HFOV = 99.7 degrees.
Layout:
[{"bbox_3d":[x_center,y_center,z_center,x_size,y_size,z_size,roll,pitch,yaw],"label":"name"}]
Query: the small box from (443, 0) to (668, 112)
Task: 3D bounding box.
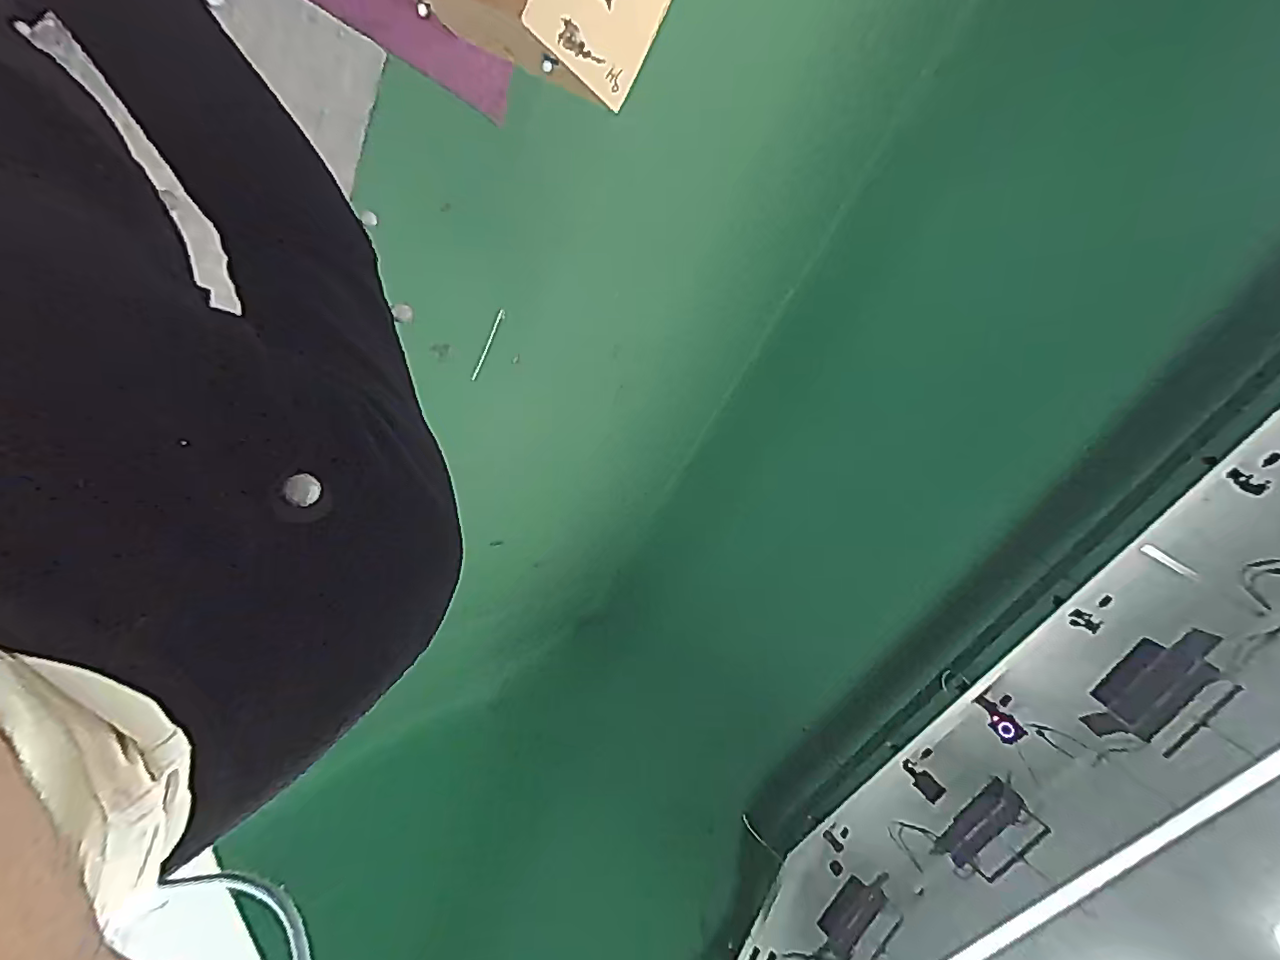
[{"bbox_3d":[-0.087,-0.546,0.573,0.168,0.176,0.179,-3,129,-58],"label":"small box"}]
